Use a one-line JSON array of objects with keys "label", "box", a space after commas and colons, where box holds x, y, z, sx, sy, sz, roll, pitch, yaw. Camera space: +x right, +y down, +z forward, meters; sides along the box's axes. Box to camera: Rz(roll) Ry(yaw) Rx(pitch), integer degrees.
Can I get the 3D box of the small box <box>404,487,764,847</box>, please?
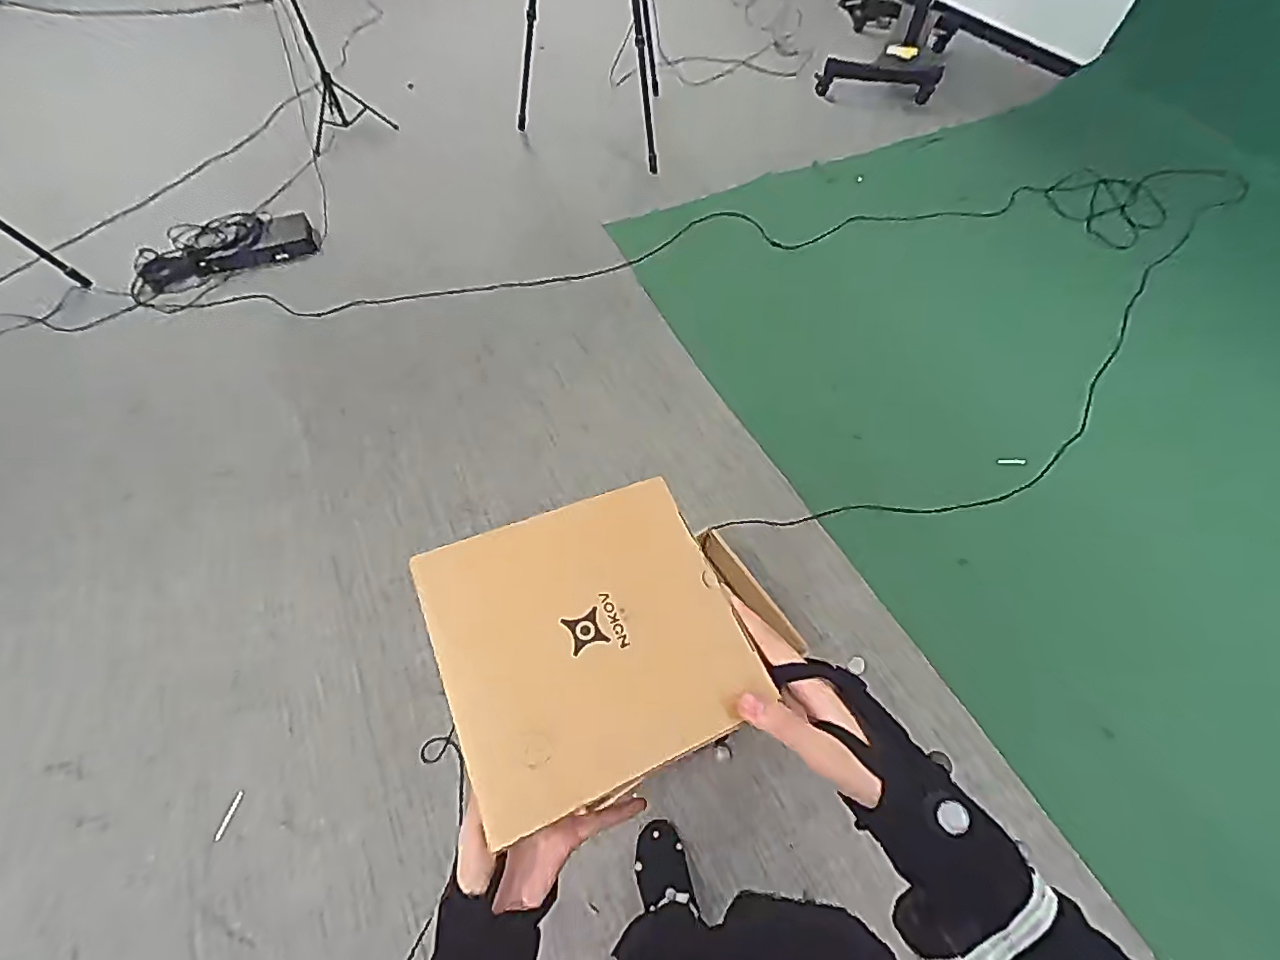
[{"label": "small box", "box": [-0.047, 0.135, 0.392, 0.179, 0.176, 0.168, -17, 63, -21]}]
